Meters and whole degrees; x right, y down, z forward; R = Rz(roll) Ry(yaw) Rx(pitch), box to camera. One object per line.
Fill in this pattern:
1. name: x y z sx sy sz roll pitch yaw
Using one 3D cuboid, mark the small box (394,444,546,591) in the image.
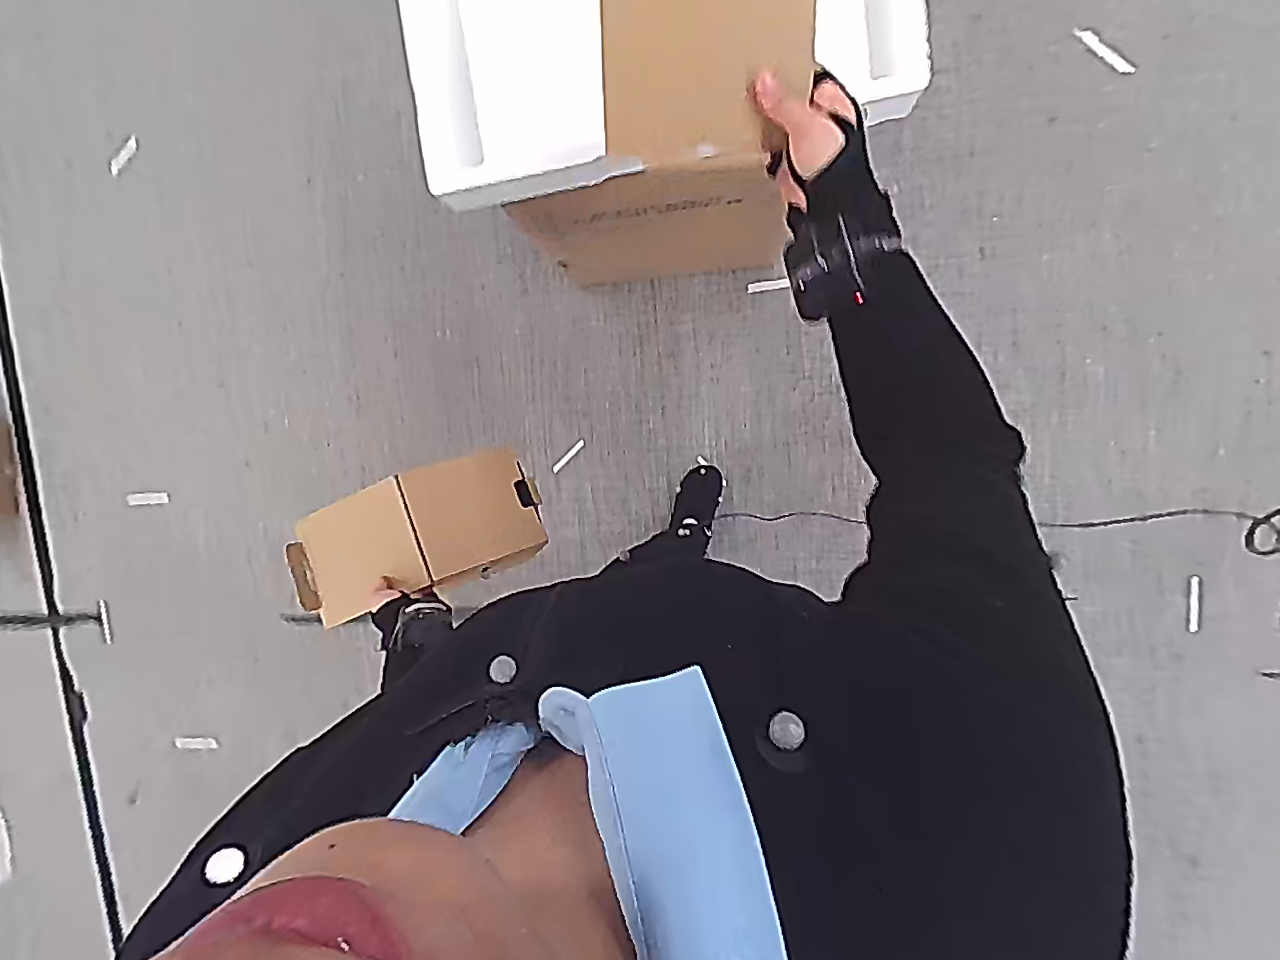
1. small box: -0.268 0.064 0.845 0.179 0.176 0.168 -17 80 -27
